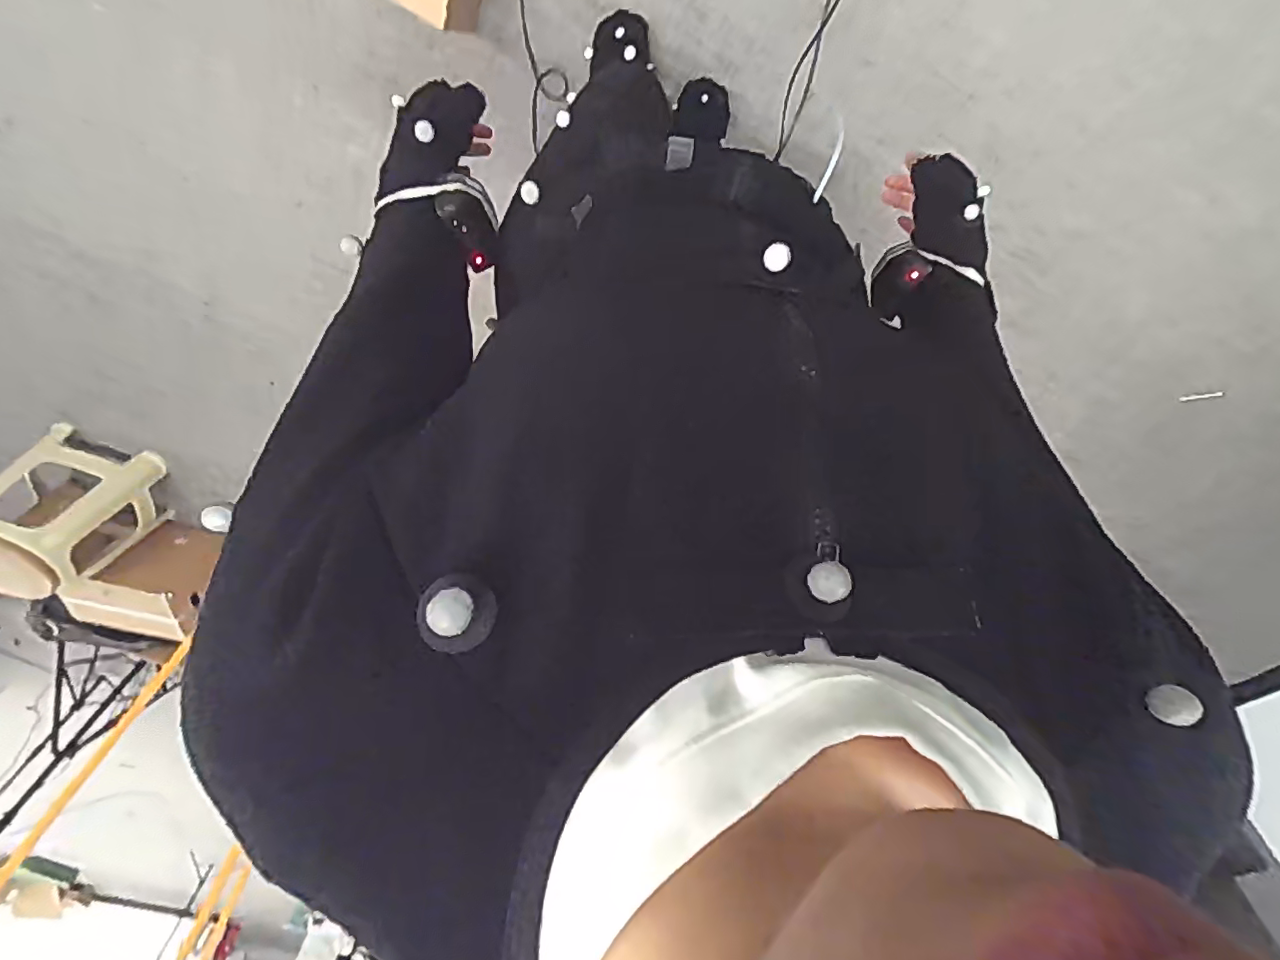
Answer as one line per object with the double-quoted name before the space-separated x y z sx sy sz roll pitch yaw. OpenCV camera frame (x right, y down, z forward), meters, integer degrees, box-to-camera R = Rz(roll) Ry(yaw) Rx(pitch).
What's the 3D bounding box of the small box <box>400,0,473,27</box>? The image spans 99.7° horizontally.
"small box" -0.377 -0.929 0.931 0.179 0.176 0.168 24 128 -15
